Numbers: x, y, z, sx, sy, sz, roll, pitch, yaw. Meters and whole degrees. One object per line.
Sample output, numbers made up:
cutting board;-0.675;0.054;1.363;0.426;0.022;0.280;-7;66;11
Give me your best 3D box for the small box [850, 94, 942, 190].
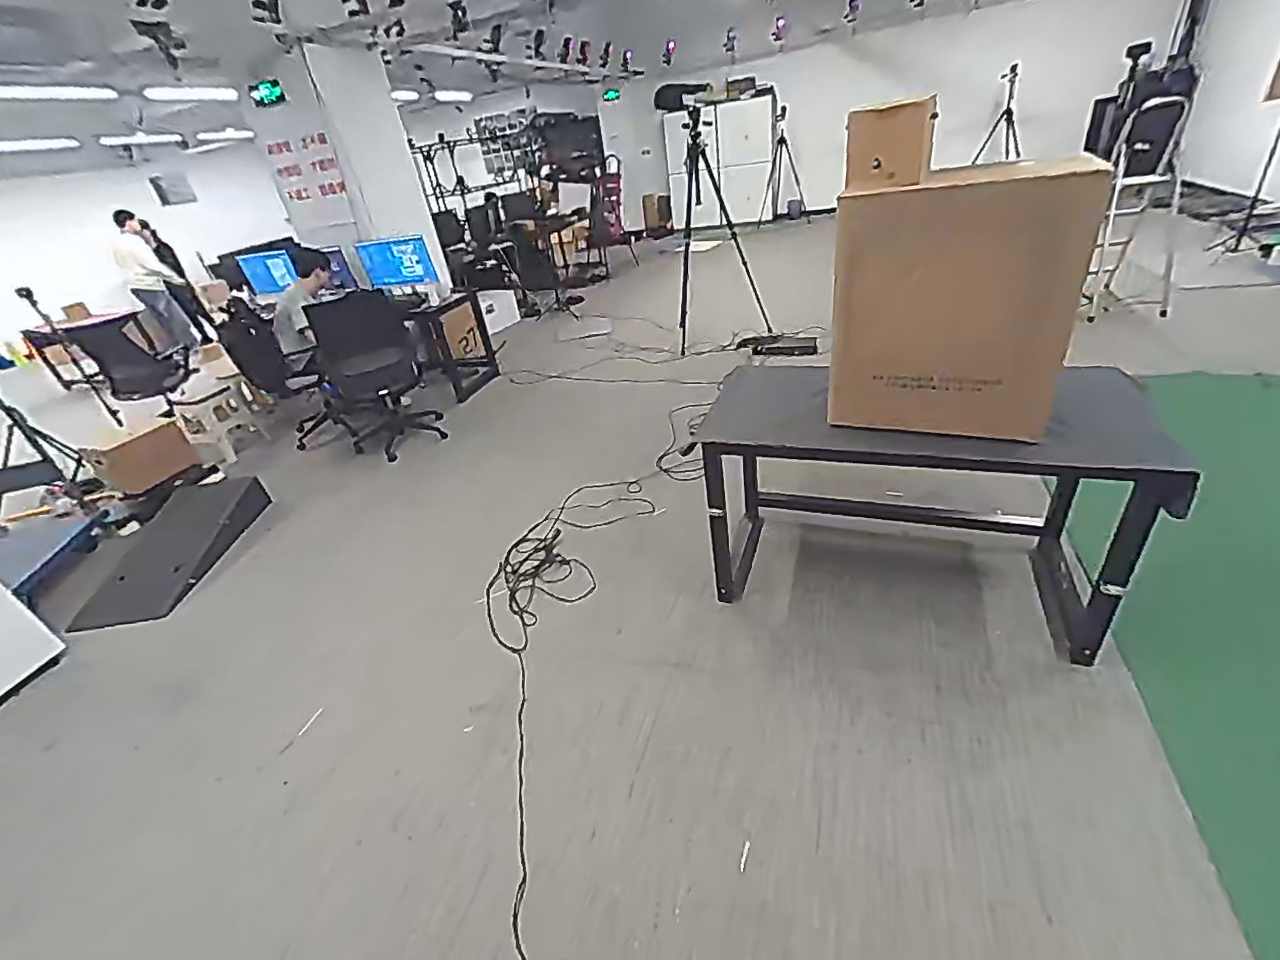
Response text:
small box;0.607;-0.803;1.292;0.168;0.176;0.179;11;40;30
